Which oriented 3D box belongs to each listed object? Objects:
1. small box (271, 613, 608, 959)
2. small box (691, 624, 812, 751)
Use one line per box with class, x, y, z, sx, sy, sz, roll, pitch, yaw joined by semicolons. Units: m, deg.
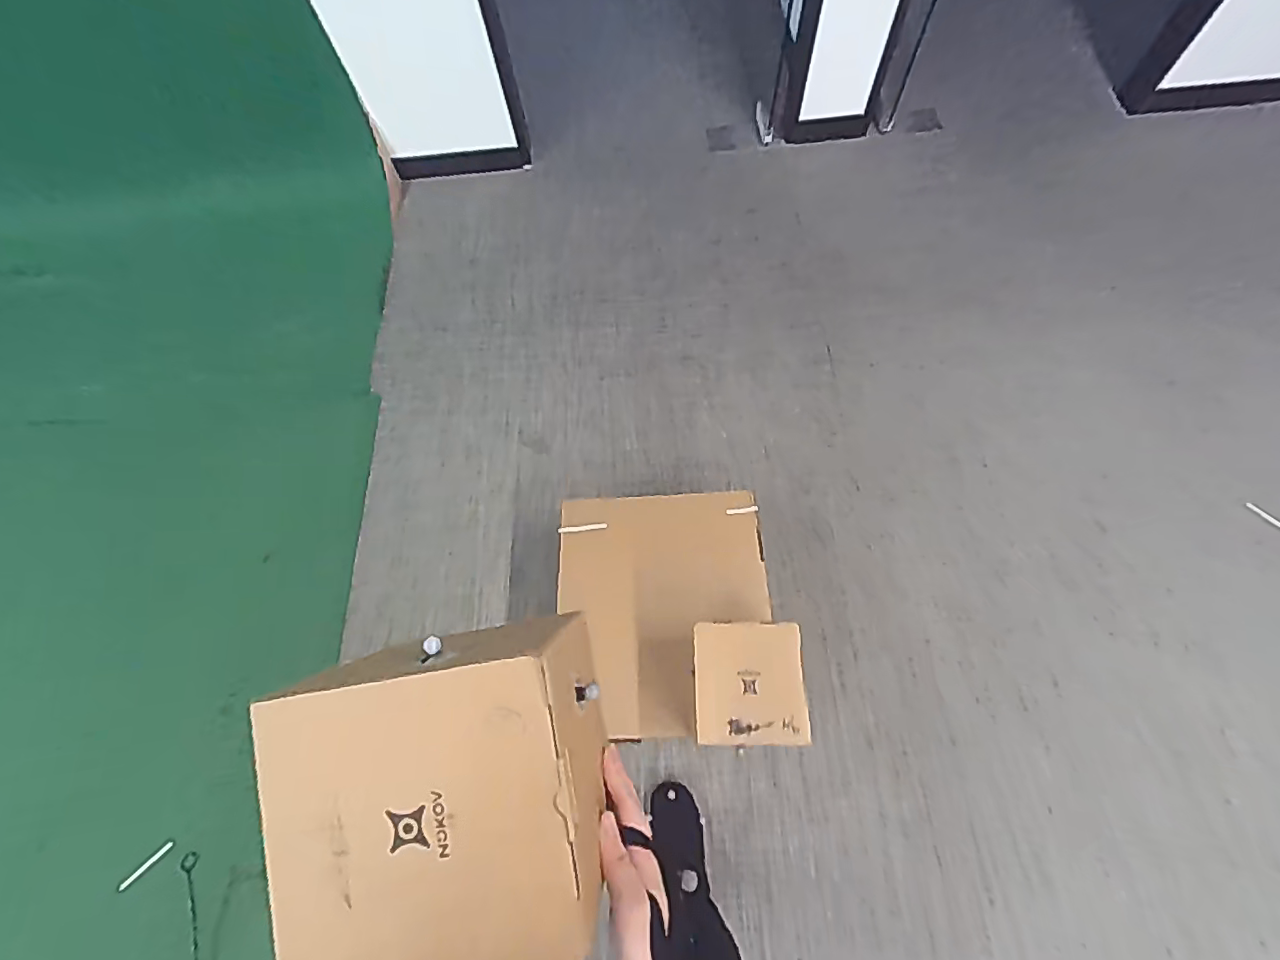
small box;-0.121;0.198;0.392;0.179;0.176;0.168;-9;83;2
small box;0.170;0.339;0.879;0.168;0.176;0.179;0;65;3
